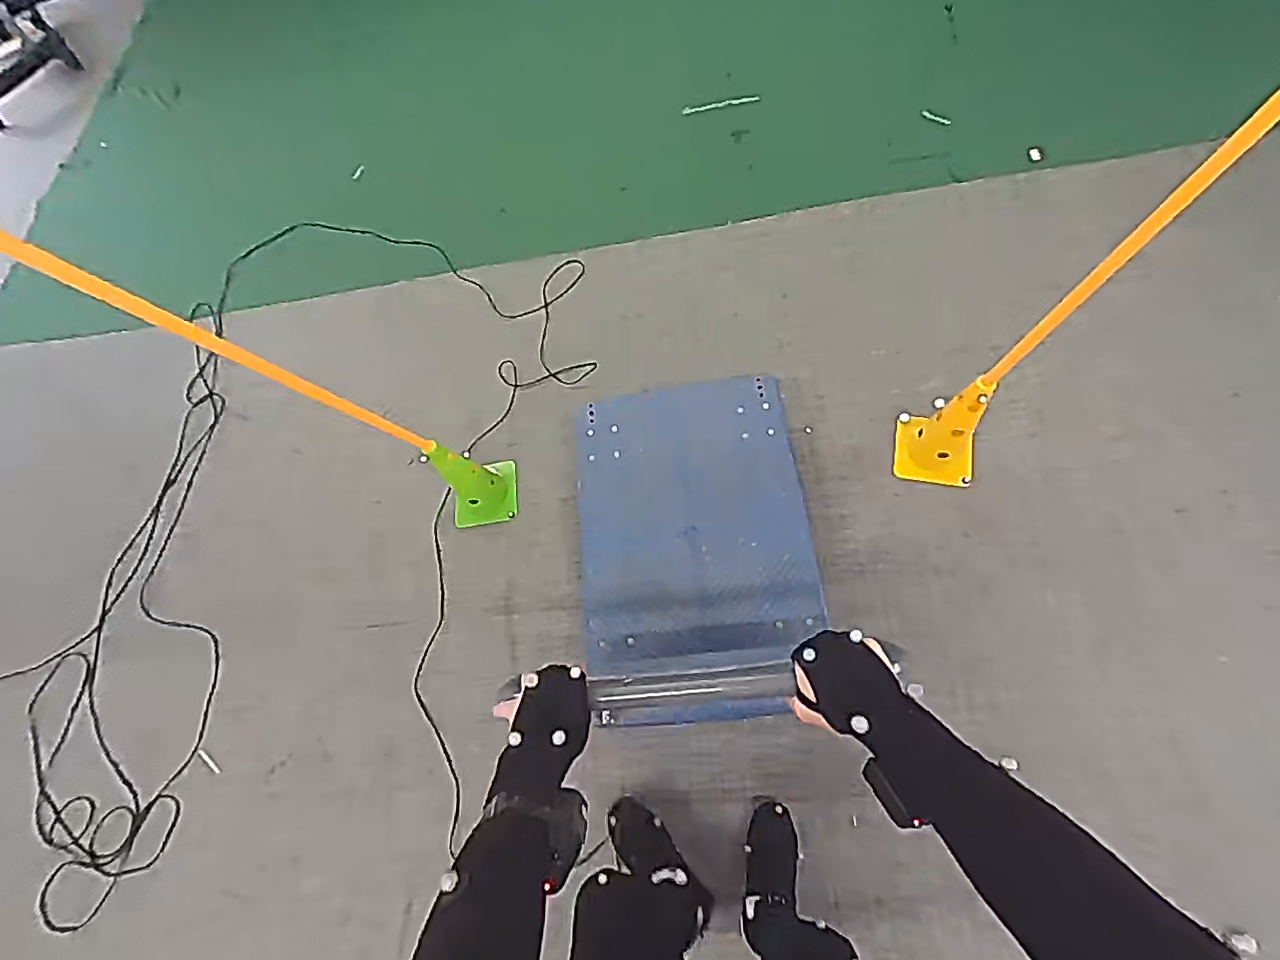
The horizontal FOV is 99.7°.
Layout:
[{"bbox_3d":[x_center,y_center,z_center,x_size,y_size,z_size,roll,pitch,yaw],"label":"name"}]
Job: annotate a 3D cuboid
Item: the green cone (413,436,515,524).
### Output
[{"bbox_3d":[-0.519,-0.033,1.529,0.202,0.368,0.200,-11,66,7],"label":"green cone"}]
